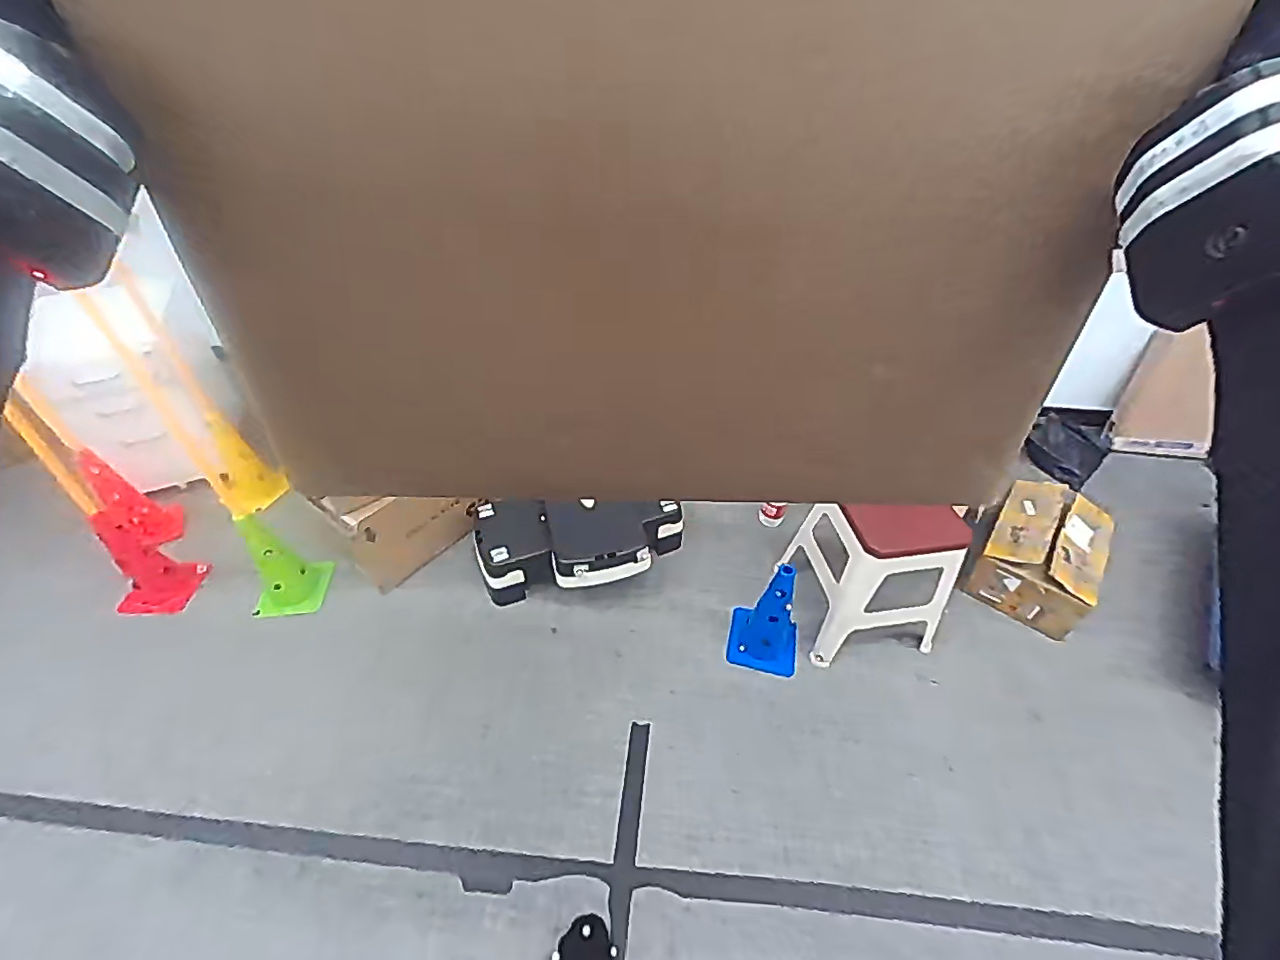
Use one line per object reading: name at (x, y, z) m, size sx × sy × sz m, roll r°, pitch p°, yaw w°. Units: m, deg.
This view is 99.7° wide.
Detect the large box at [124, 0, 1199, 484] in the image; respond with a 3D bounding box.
large box at (0.005, -0.207, 0.355) m, size 0.408 × 0.320 × 0.320 m, roll 1°, pitch 38°, yaw -1°
